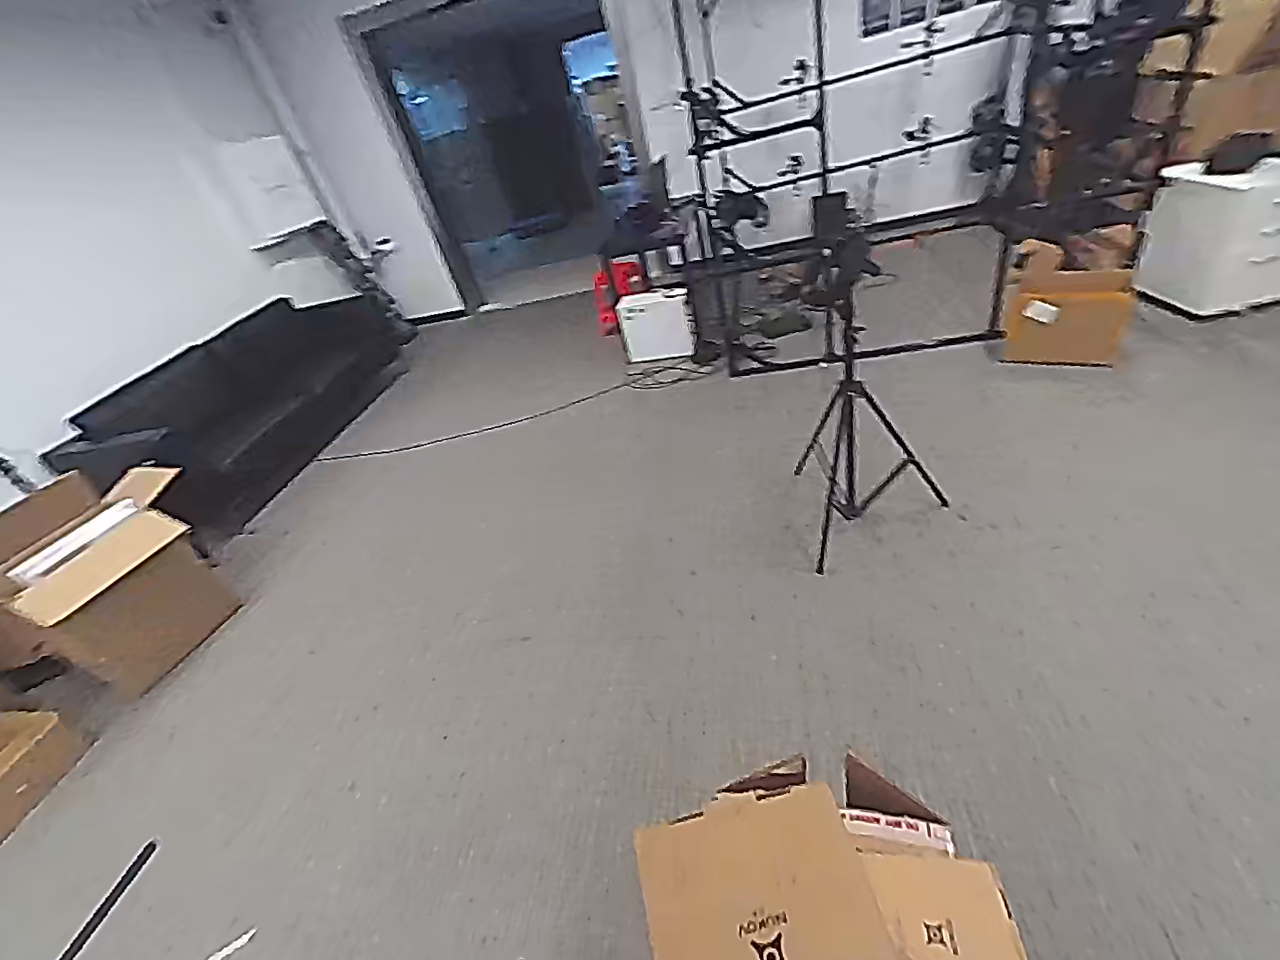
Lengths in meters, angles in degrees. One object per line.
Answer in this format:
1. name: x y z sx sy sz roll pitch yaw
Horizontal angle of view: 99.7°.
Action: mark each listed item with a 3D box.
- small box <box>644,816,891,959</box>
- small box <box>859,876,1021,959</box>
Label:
1. small box: 0.108 0.408 0.435 0.168 0.176 0.179 -15 45 -2
2. small box: 0.381 0.643 0.697 0.179 0.176 0.168 -5 37 14
